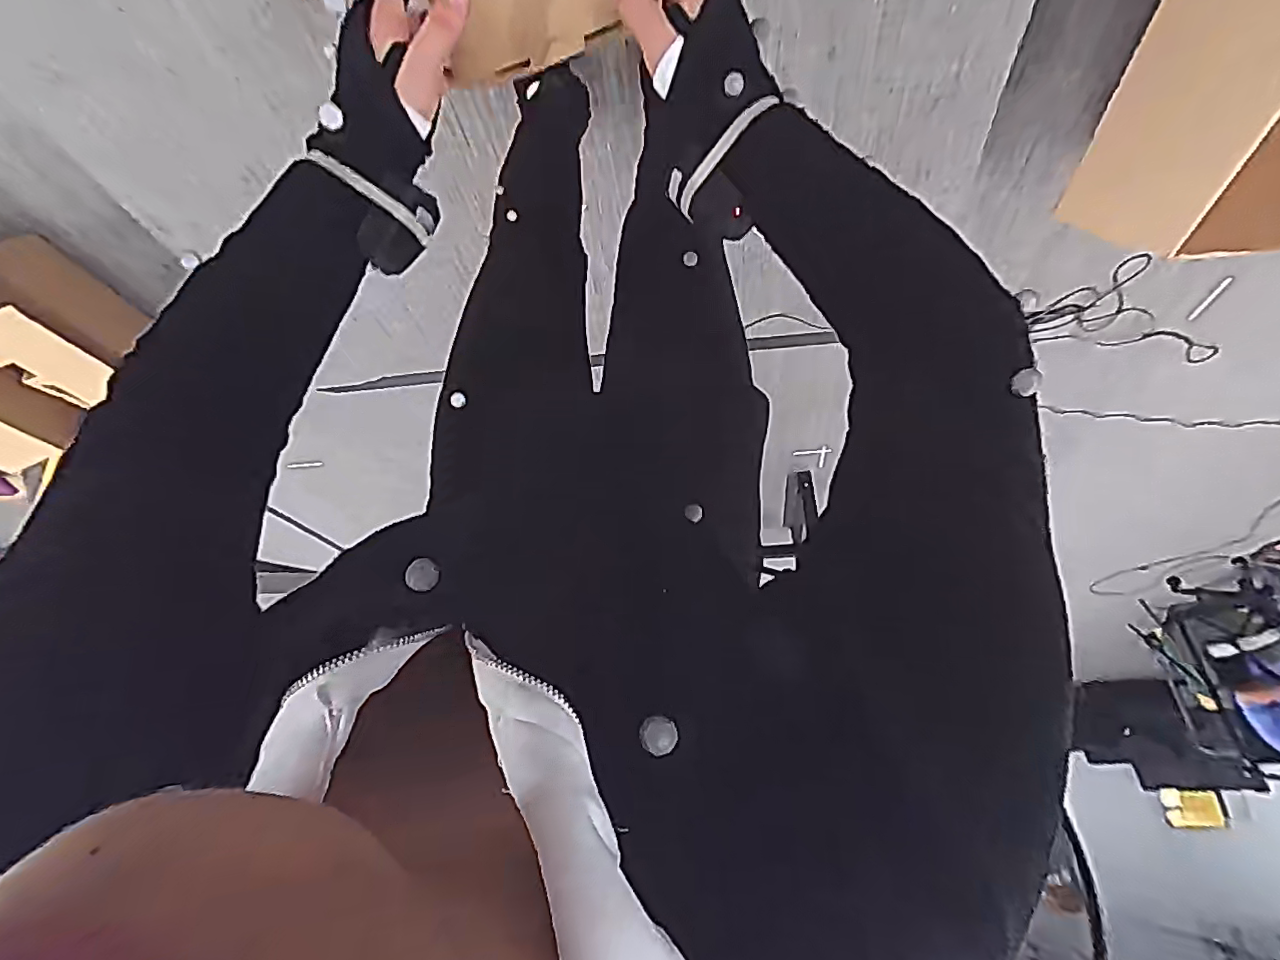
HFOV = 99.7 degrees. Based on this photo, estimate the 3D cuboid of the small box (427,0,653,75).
[{"bbox_3d":[-0.085,-0.449,0.416,0.168,0.176,0.179,-11,128,13],"label":"small box"}]
